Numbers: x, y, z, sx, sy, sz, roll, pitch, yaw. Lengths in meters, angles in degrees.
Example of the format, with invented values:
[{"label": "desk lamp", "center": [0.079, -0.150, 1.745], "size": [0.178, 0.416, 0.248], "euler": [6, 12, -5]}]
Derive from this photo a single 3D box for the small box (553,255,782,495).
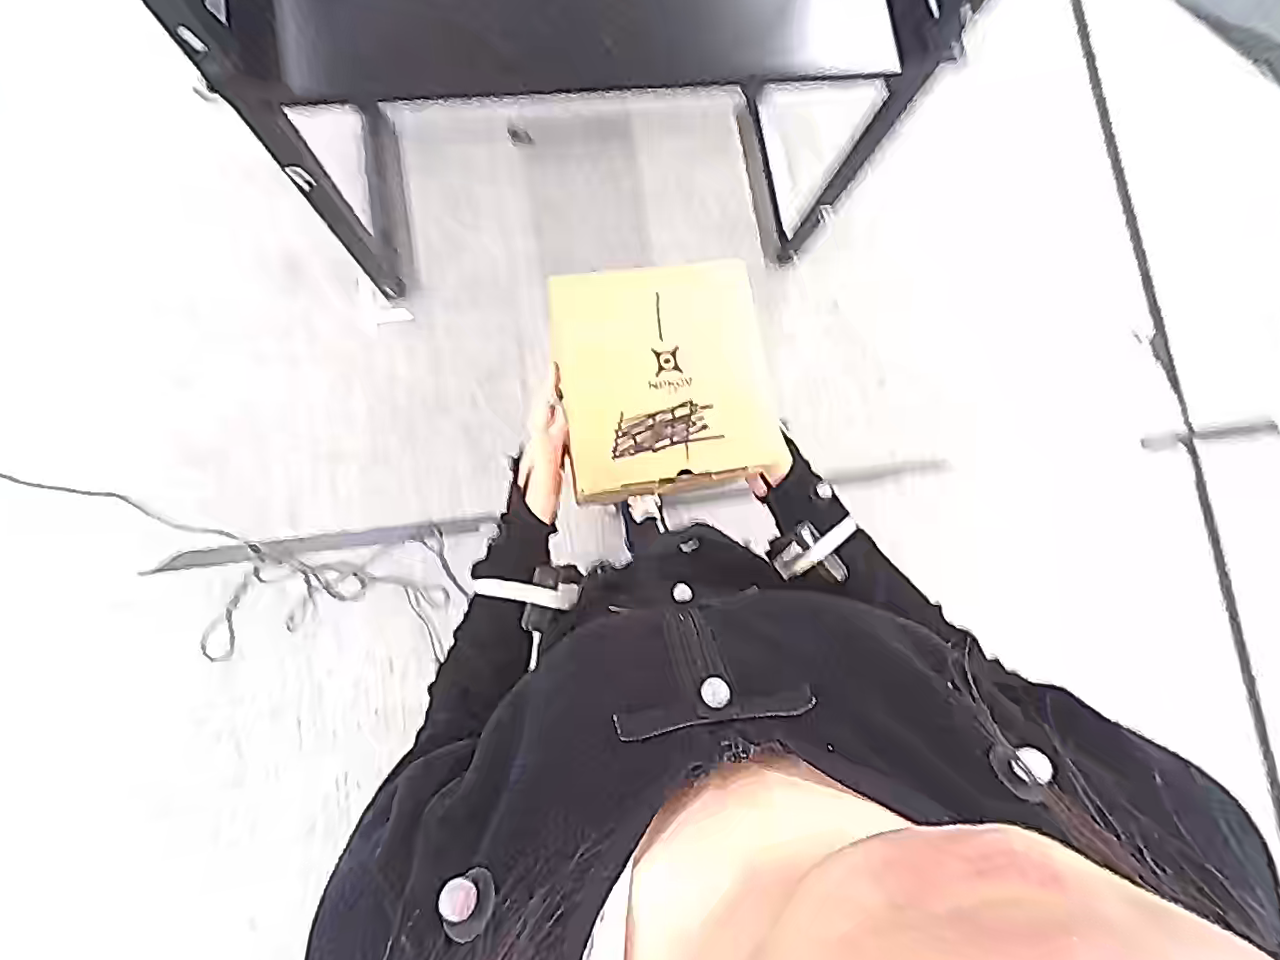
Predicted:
[{"label": "small box", "center": [0.013, -0.083, 0.509], "size": [0.168, 0.176, 0.179], "euler": [-8, 83, -9]}]
